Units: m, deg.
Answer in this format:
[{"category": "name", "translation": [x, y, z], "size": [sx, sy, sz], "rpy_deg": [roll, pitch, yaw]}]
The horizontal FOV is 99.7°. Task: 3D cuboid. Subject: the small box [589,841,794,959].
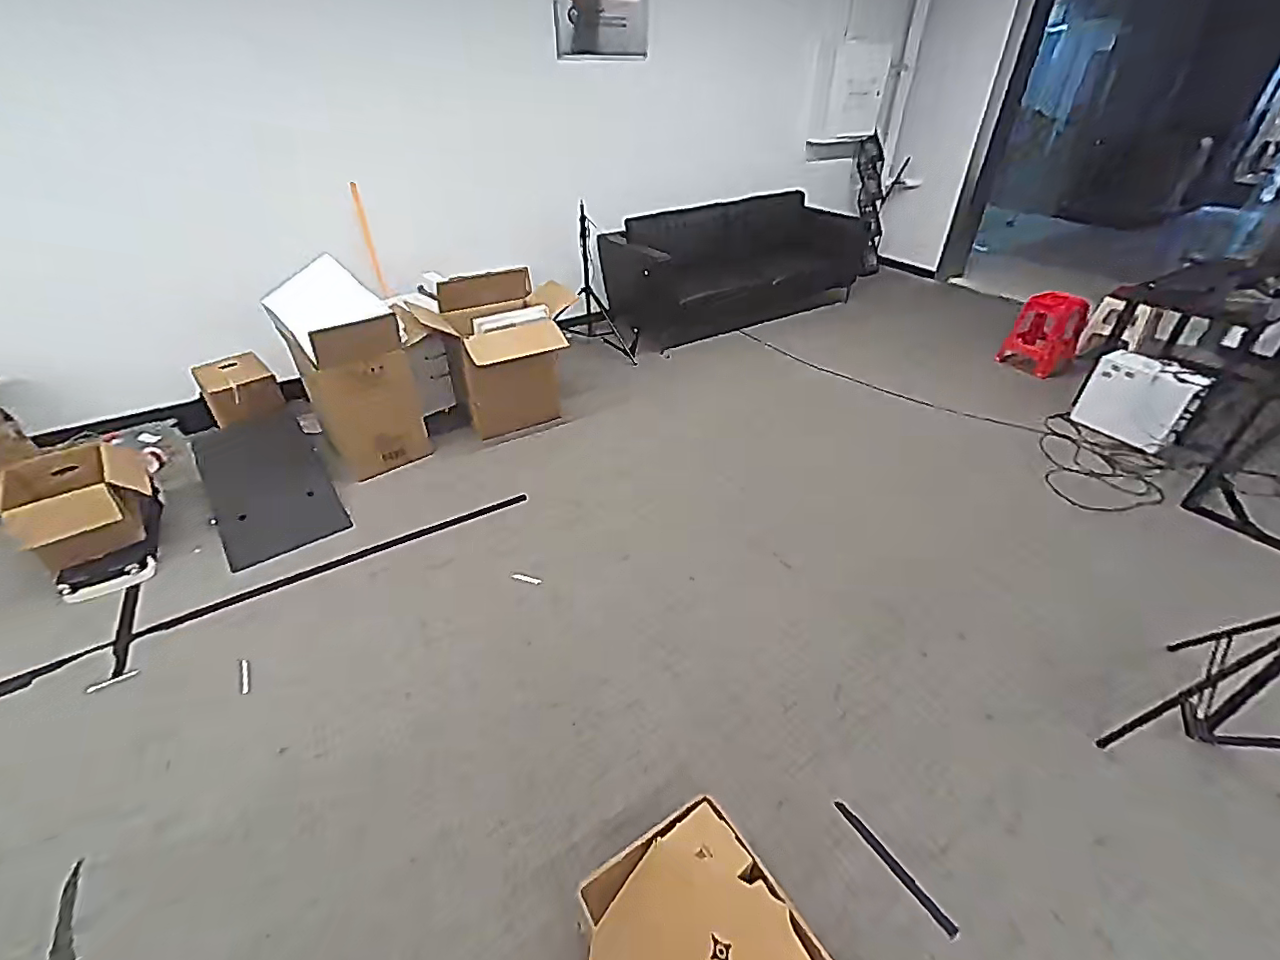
[{"category": "small box", "translation": [0.040, 0.522, 0.535], "size": [0.168, 0.176, 0.179], "rpy_deg": [27, 18, 1]}]
